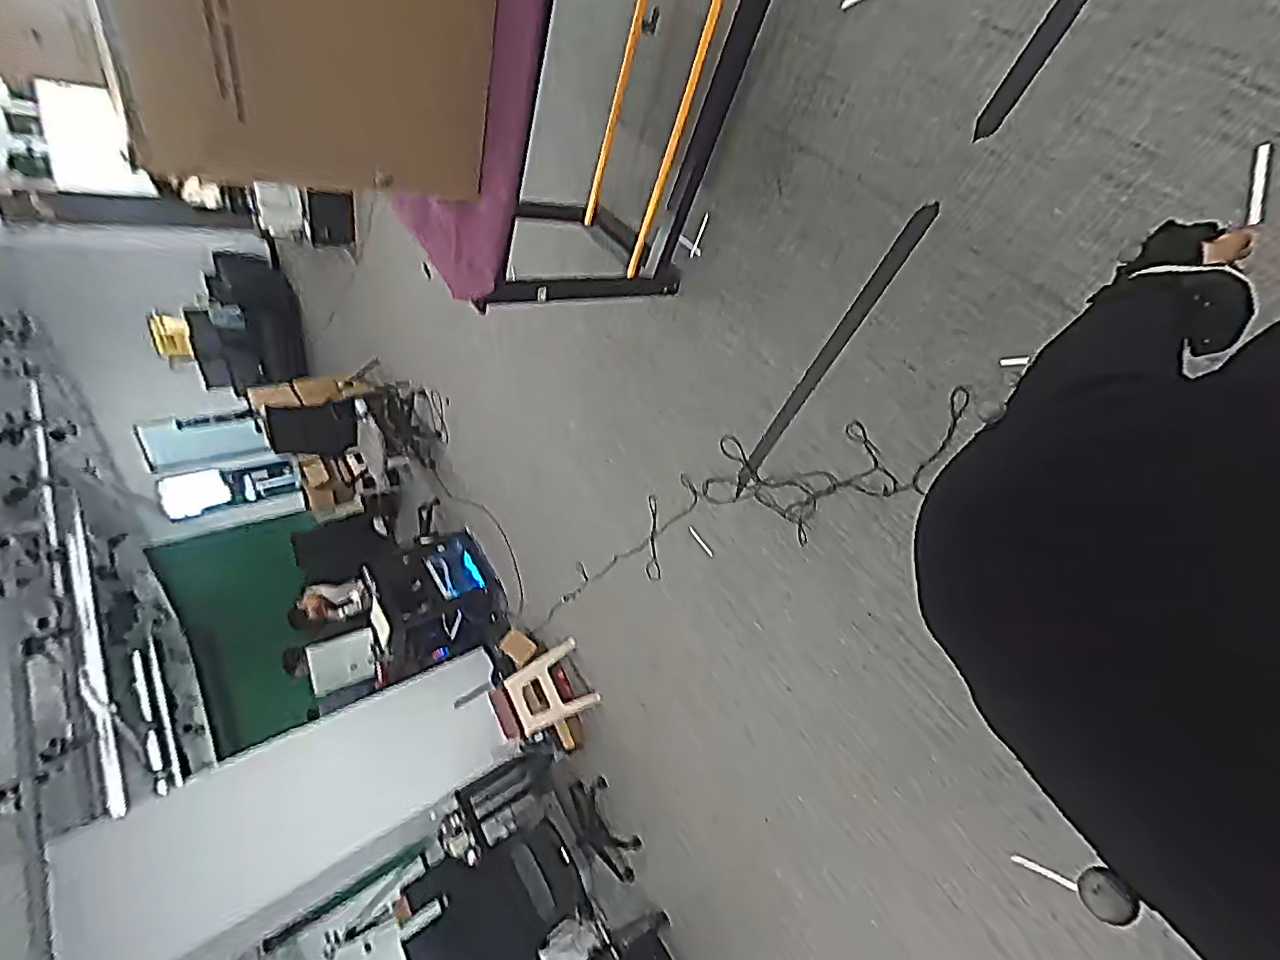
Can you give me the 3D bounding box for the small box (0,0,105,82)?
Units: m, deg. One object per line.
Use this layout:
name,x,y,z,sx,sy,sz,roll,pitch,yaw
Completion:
small box,-1.058,-0.816,0.925,0.179,0.176,0.168,52,138,25
